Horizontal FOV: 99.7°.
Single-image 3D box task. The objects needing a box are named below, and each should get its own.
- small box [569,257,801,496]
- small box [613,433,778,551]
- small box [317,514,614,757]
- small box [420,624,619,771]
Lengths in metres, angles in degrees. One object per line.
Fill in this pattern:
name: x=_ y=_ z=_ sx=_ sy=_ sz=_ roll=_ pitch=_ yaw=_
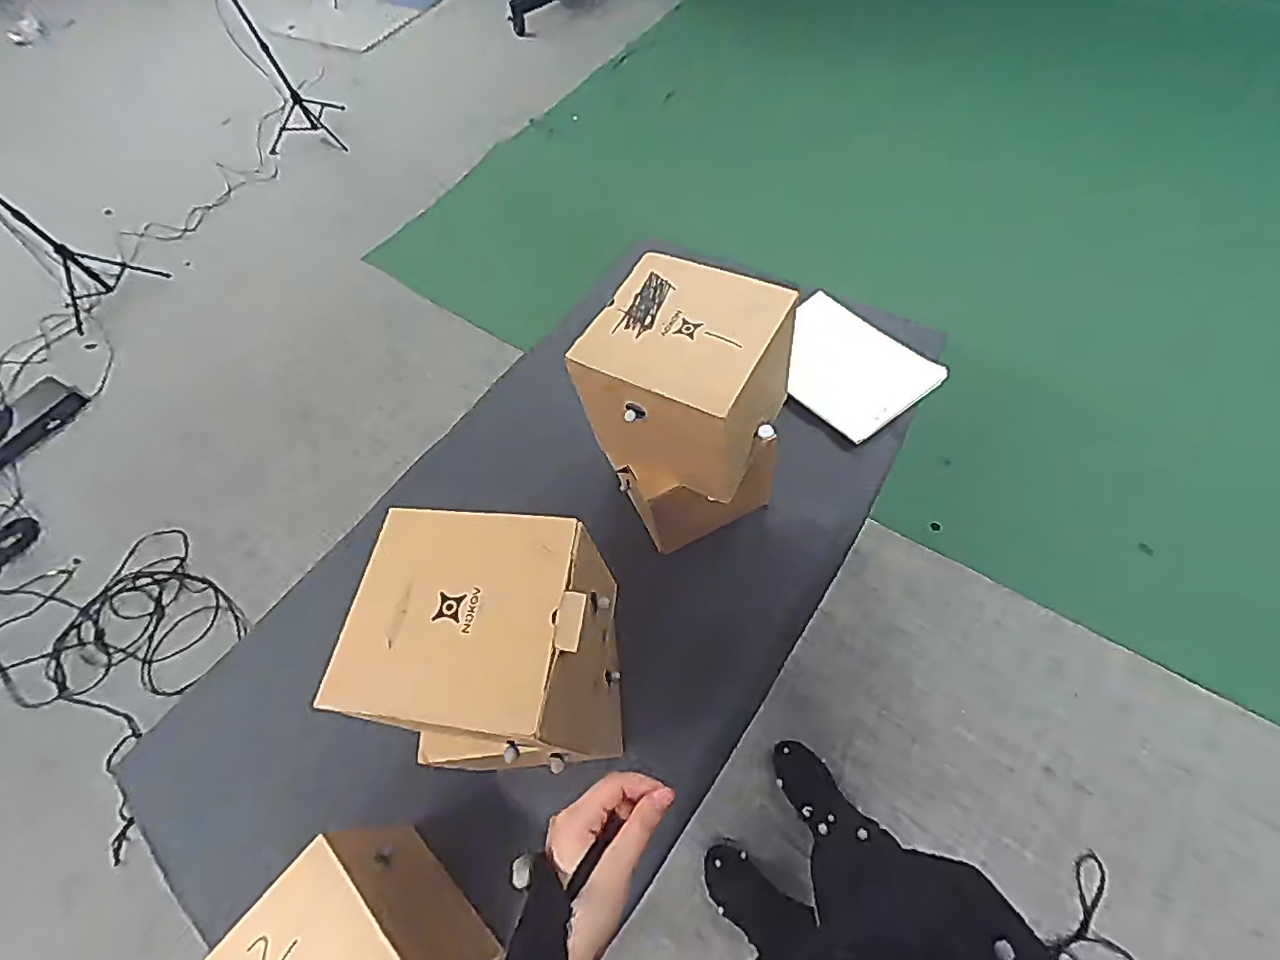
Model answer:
small box: x=0.055 y=-0.106 z=0.590 sx=0.179 sy=0.176 sz=0.168 roll=24 pitch=68 yaw=21
small box: x=0.064 y=-0.031 z=0.737 sx=0.179 sy=0.176 sz=0.168 roll=-26 pitch=60 yaw=-5
small box: x=-0.128 y=0.144 z=0.481 sx=0.179 sy=0.176 sz=0.168 roll=2 pitch=60 yaw=11
small box: x=-0.121 y=0.232 z=0.618 sx=0.179 sy=0.176 sz=0.168 roll=-8 pitch=59 yaw=5
